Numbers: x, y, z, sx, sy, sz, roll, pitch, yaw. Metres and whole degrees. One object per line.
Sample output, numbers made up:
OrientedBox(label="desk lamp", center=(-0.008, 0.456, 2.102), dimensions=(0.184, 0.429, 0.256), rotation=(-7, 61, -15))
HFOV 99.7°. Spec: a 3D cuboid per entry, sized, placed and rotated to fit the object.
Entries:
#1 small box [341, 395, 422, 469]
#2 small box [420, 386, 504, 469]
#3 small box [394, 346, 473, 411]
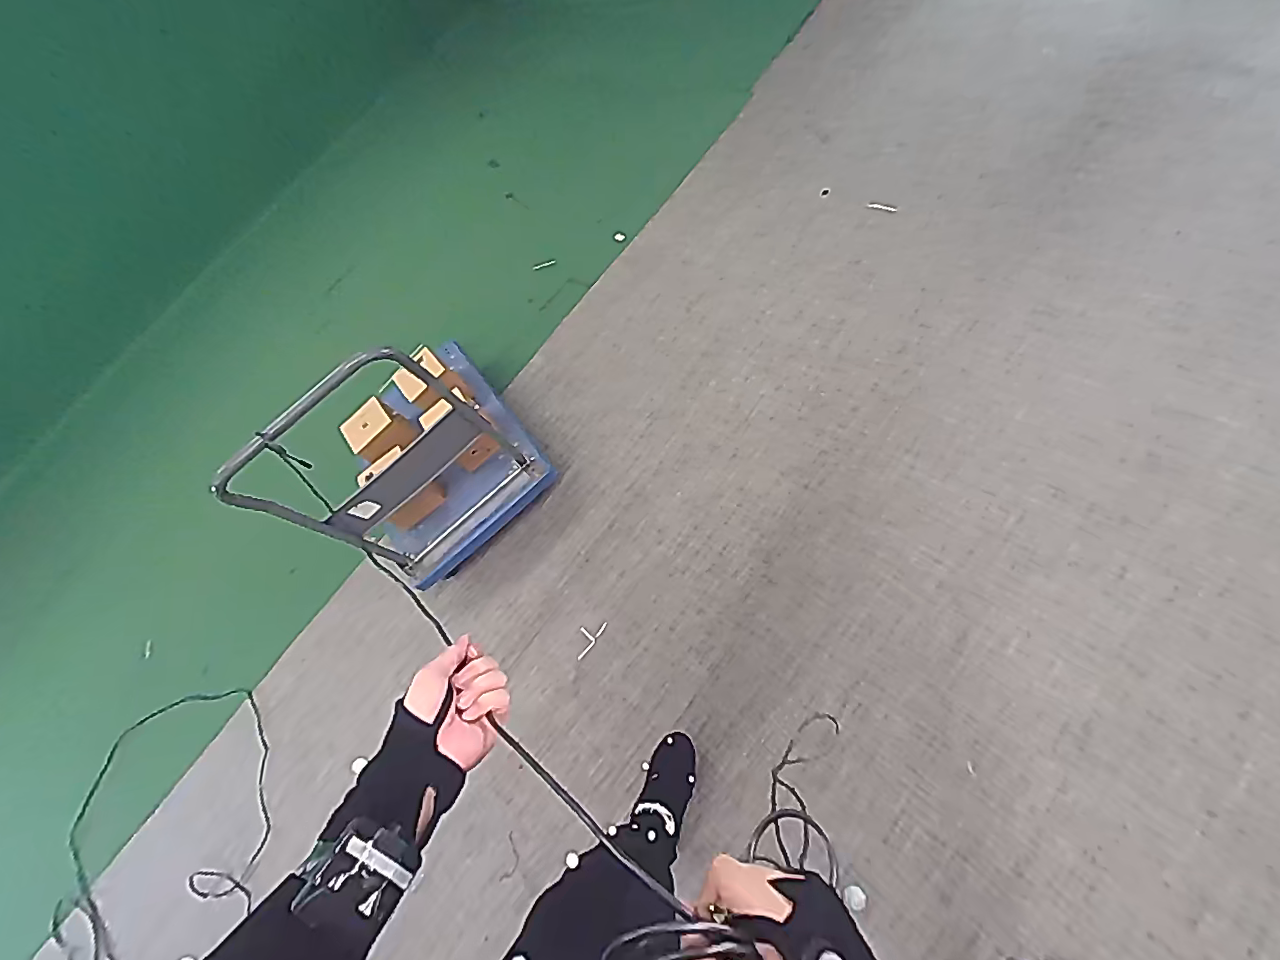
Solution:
OrientedBox(label="small box", center=(-0.915, -0.162, 1.927), dimensions=(0.168, 0.176, 0.179), rotation=(-44, 57, -3))
OrientedBox(label="small box", center=(-0.586, -0.168, 1.790), dimensions=(0.168, 0.176, 0.179), rotation=(-40, 57, 0))
OrientedBox(label="small box", center=(-0.737, -0.339, 1.937), dimensions=(0.168, 0.176, 0.179), rotation=(-45, 58, -2))
